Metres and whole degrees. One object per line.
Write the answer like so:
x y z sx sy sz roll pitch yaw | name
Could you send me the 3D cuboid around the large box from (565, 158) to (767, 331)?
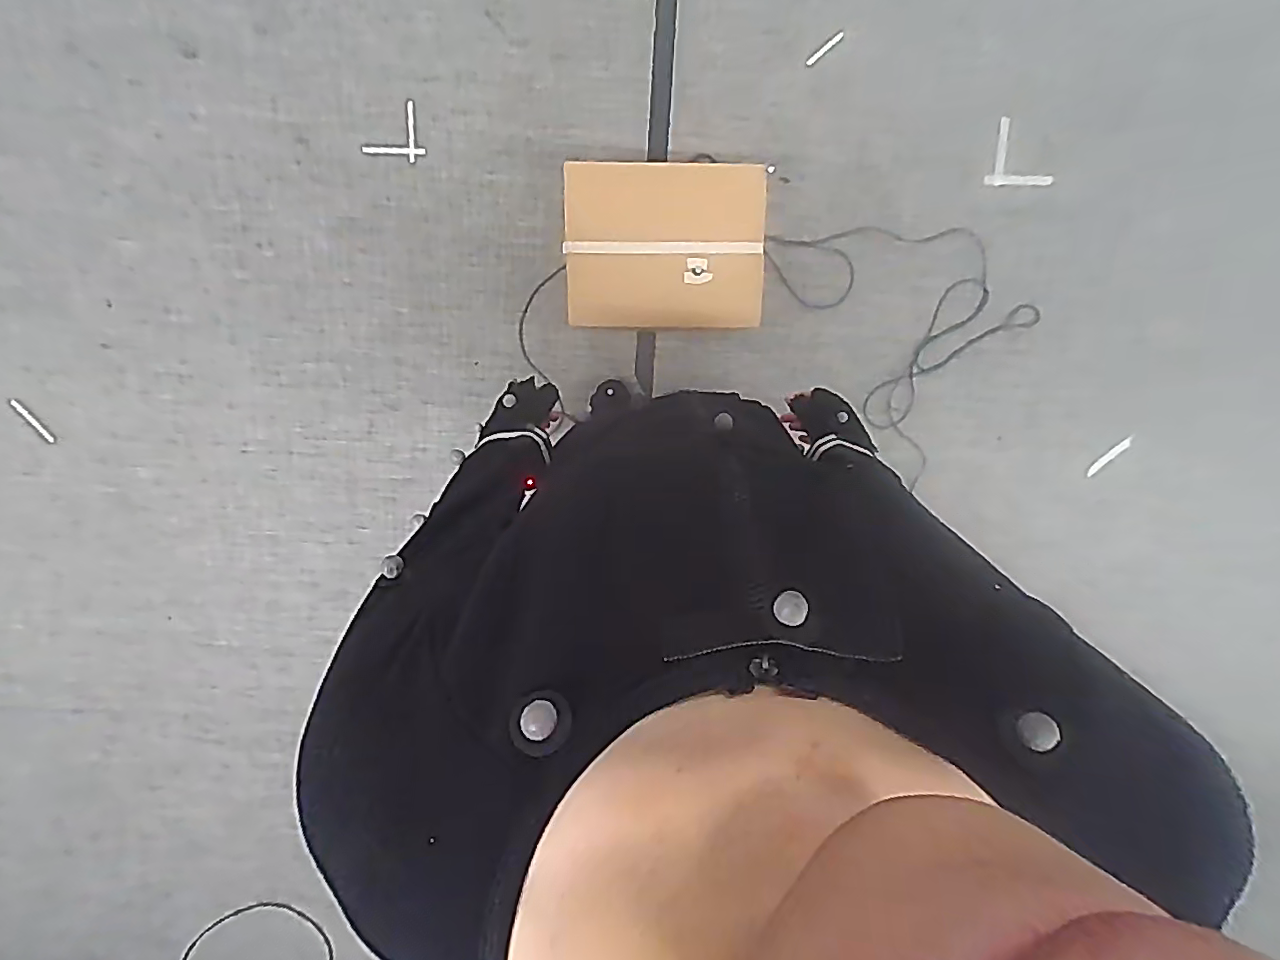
0.047 -0.508 1.230 0.408 0.320 0.320 0 104 -2 | large box
